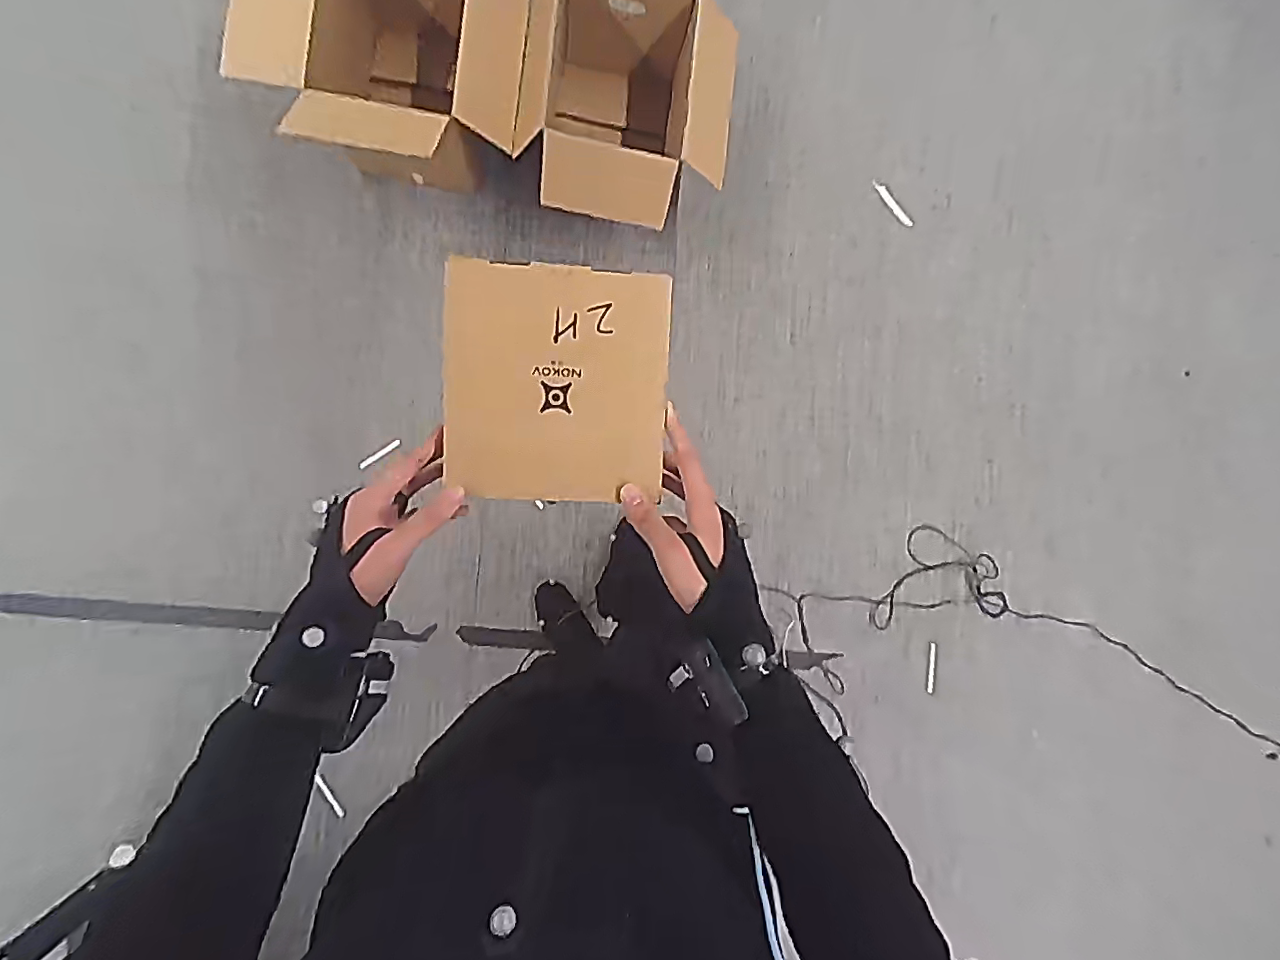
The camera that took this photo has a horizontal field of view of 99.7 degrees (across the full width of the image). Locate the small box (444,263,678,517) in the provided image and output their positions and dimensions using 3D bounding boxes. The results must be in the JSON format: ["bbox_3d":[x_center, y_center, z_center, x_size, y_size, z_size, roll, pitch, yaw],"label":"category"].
[{"bbox_3d":[-0.067,-0.072,0.475,0.168,0.176,0.179,3,97,-7],"label":"small box"}]
